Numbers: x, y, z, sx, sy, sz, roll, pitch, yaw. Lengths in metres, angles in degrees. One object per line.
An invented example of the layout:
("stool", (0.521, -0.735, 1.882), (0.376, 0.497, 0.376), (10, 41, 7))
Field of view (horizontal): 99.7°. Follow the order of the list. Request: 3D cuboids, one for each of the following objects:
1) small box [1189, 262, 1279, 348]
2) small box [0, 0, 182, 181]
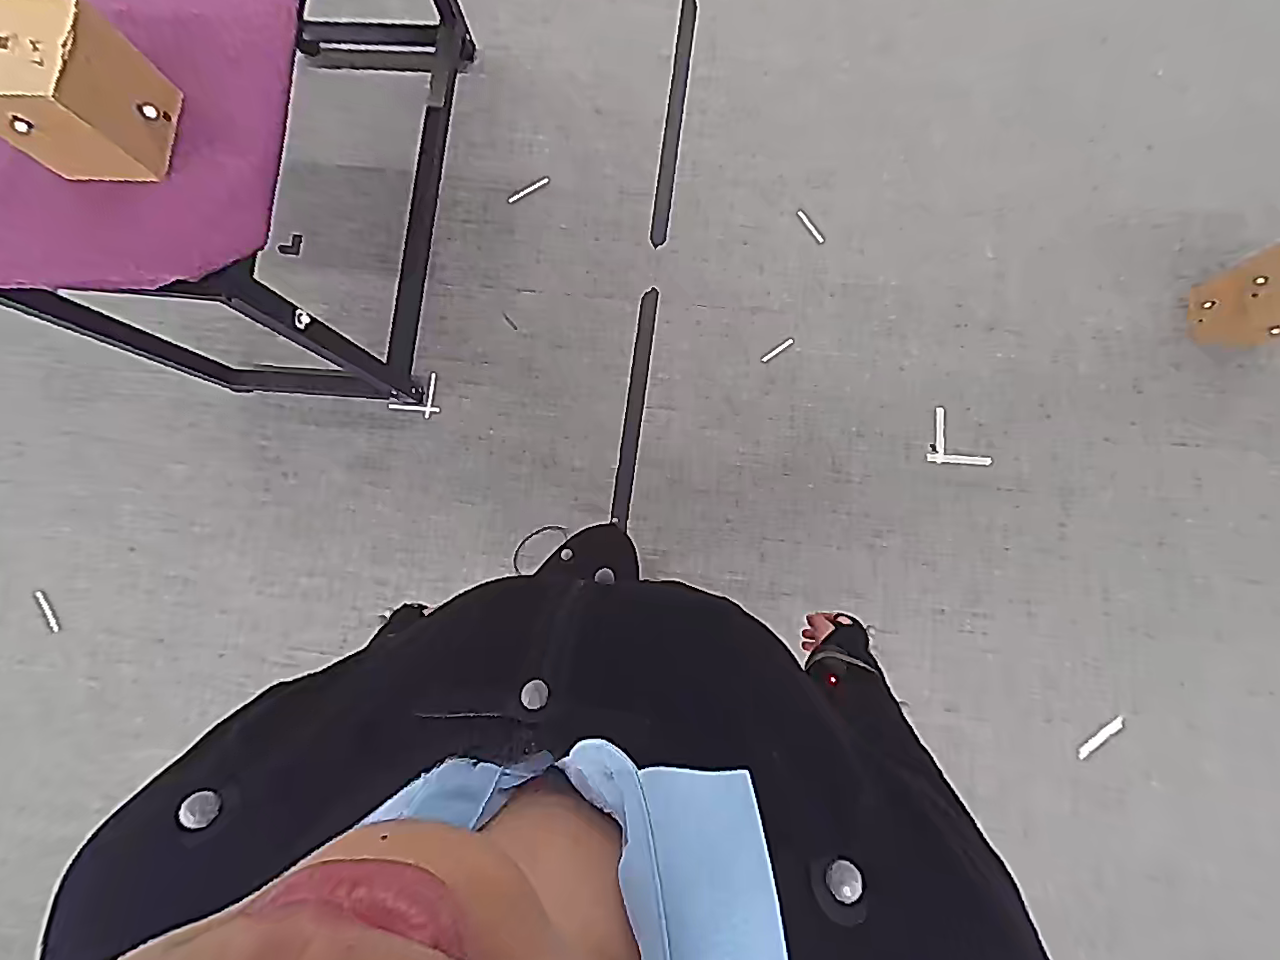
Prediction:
("small box", (1.637, -0.460, 1.439), (0.179, 0.176, 0.168), (1, 82, 3))
("small box", (-0.857, -0.579, 0.814), (0.179, 0.176, 0.168), (3, 82, 3))
